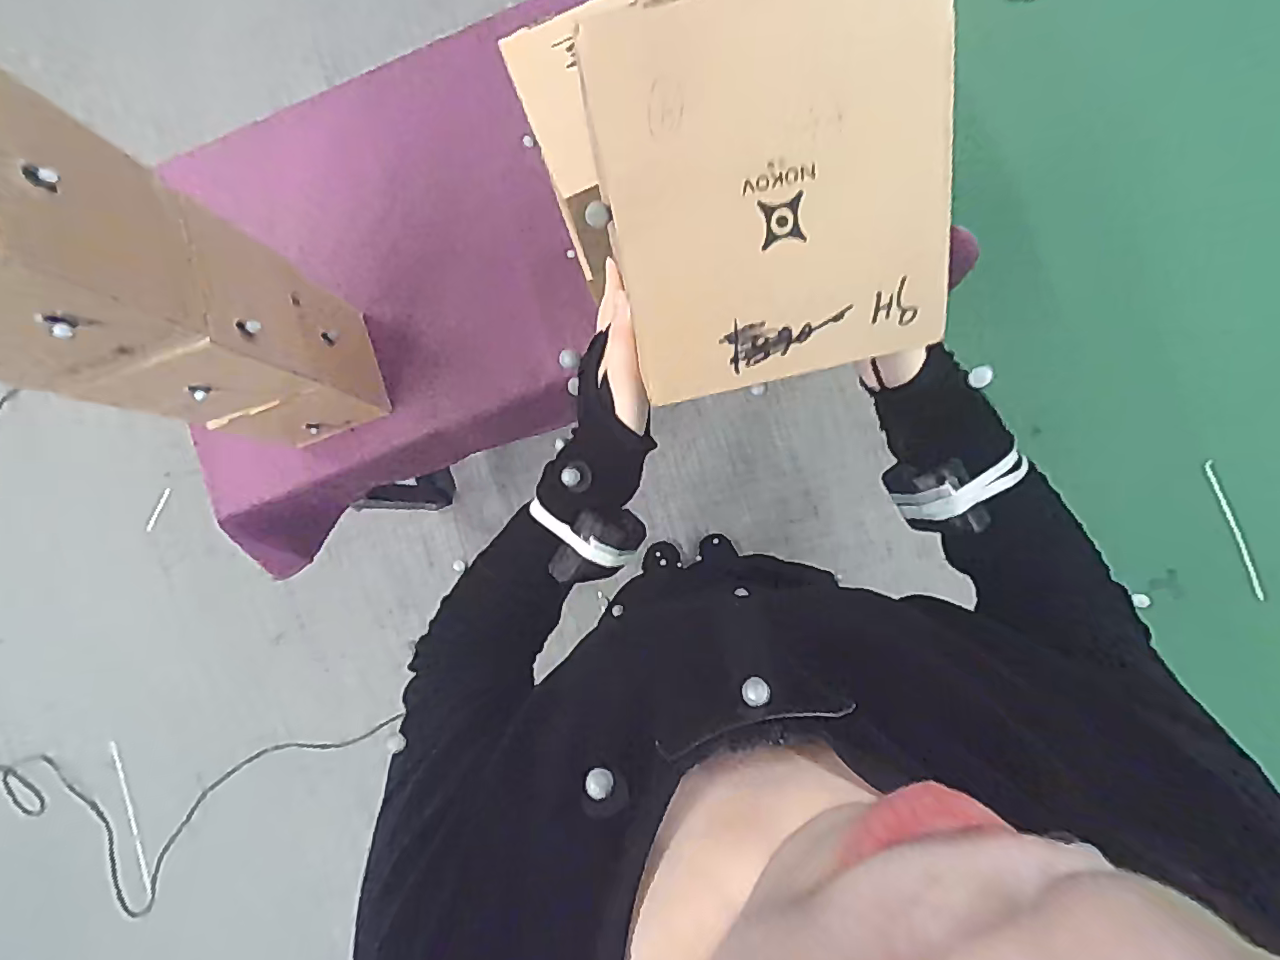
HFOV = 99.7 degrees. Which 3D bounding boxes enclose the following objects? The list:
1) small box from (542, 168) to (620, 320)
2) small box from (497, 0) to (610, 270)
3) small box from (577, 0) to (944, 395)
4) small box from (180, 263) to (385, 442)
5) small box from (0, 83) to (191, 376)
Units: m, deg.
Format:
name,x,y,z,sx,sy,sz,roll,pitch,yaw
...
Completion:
name,x,y,z,sx,sy,sz,roll,pitch,yaw
small box,-0.010,-0.344,0.743,0.179,0.176,0.168,-20,85,3
small box,-0.026,-0.364,0.580,0.168,0.176,0.179,-22,85,3
small box,0.059,-0.169,0.337,0.168,0.176,0.179,-12,113,1
small box,-0.500,-0.169,0.772,0.168,0.176,0.179,-20,85,3
small box,-0.524,-0.199,0.446,0.168,0.176,0.179,-19,84,2
